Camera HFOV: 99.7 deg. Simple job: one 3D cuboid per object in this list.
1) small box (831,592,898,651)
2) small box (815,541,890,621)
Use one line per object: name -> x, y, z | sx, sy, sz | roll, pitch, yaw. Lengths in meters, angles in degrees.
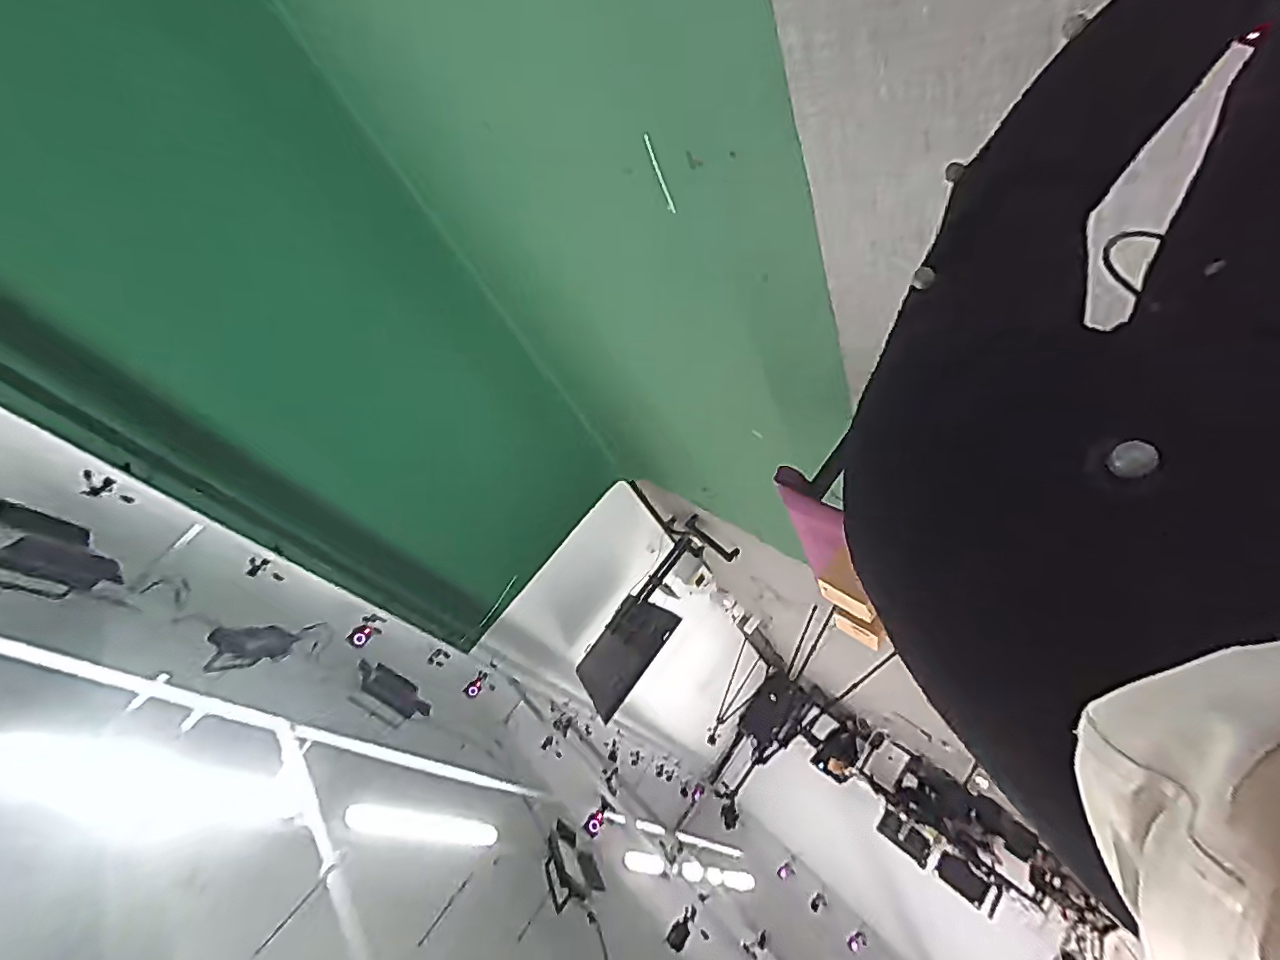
small box -> 0.817, 0.484, 1.965 | 0.168, 0.176, 0.179 | 30, 163, 36
small box -> 0.702, 0.327, 1.776 | 0.179, 0.176, 0.168 | 28, 163, 37
